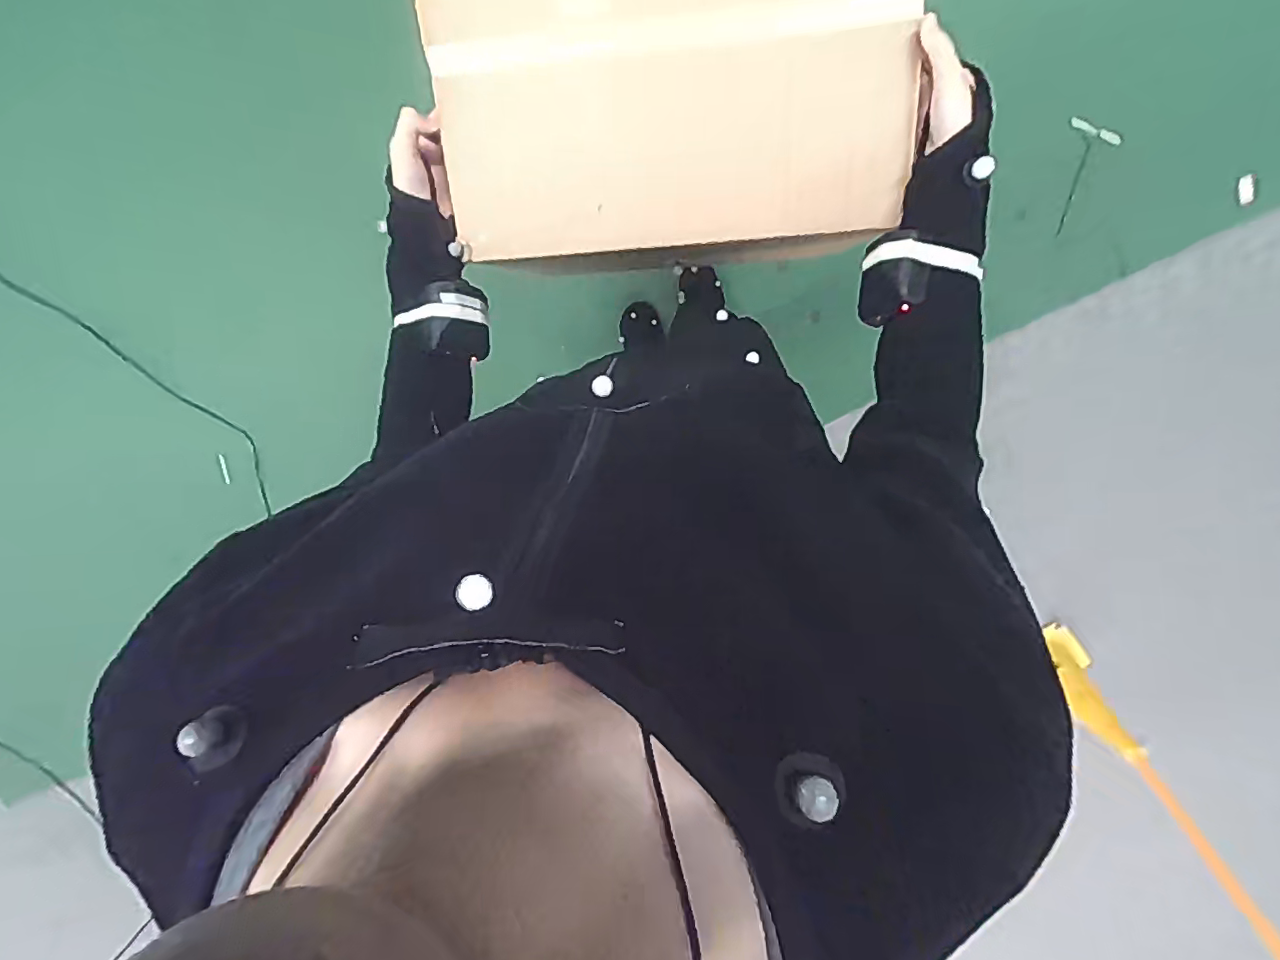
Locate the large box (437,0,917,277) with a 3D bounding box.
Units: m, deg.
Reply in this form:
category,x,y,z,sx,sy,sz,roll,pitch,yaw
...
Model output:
category,x,y,z,sx,sy,sz,roll,pitch,yaw
large box,0.040,-0.406,0.598,0.408,0.320,0.320,-1,107,5
